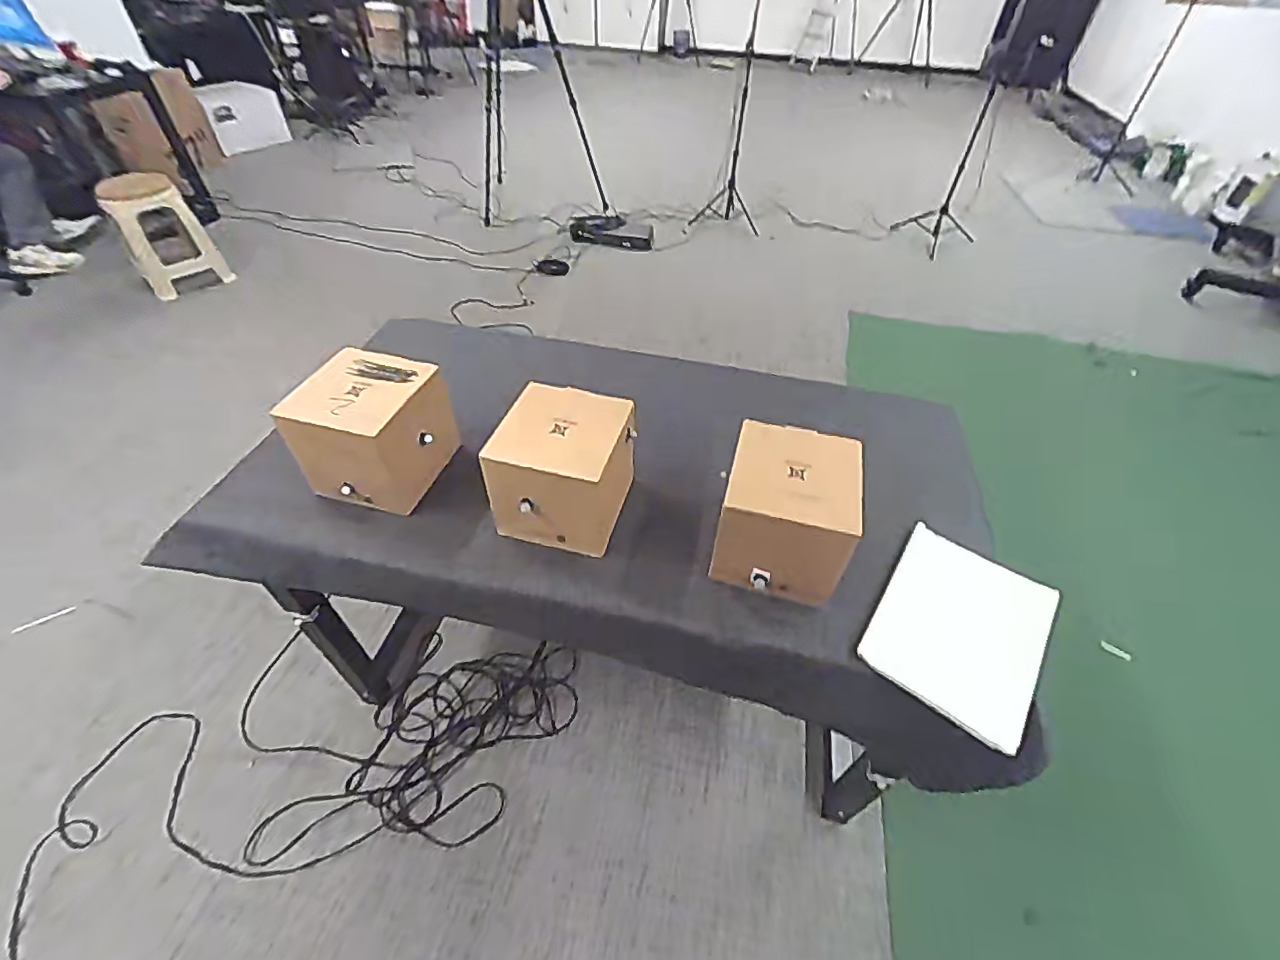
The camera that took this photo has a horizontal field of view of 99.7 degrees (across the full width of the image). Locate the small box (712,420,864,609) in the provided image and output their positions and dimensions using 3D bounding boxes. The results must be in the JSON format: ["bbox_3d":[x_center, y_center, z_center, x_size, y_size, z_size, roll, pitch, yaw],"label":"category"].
[{"bbox_3d":[0.200,0.047,0.749,0.168,0.176,0.179,12,48,10],"label":"small box"}]

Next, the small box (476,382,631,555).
[{"bbox_3d":[-0.113,-0.015,0.793,0.168,0.176,0.179,12,46,9],"label":"small box"}]
